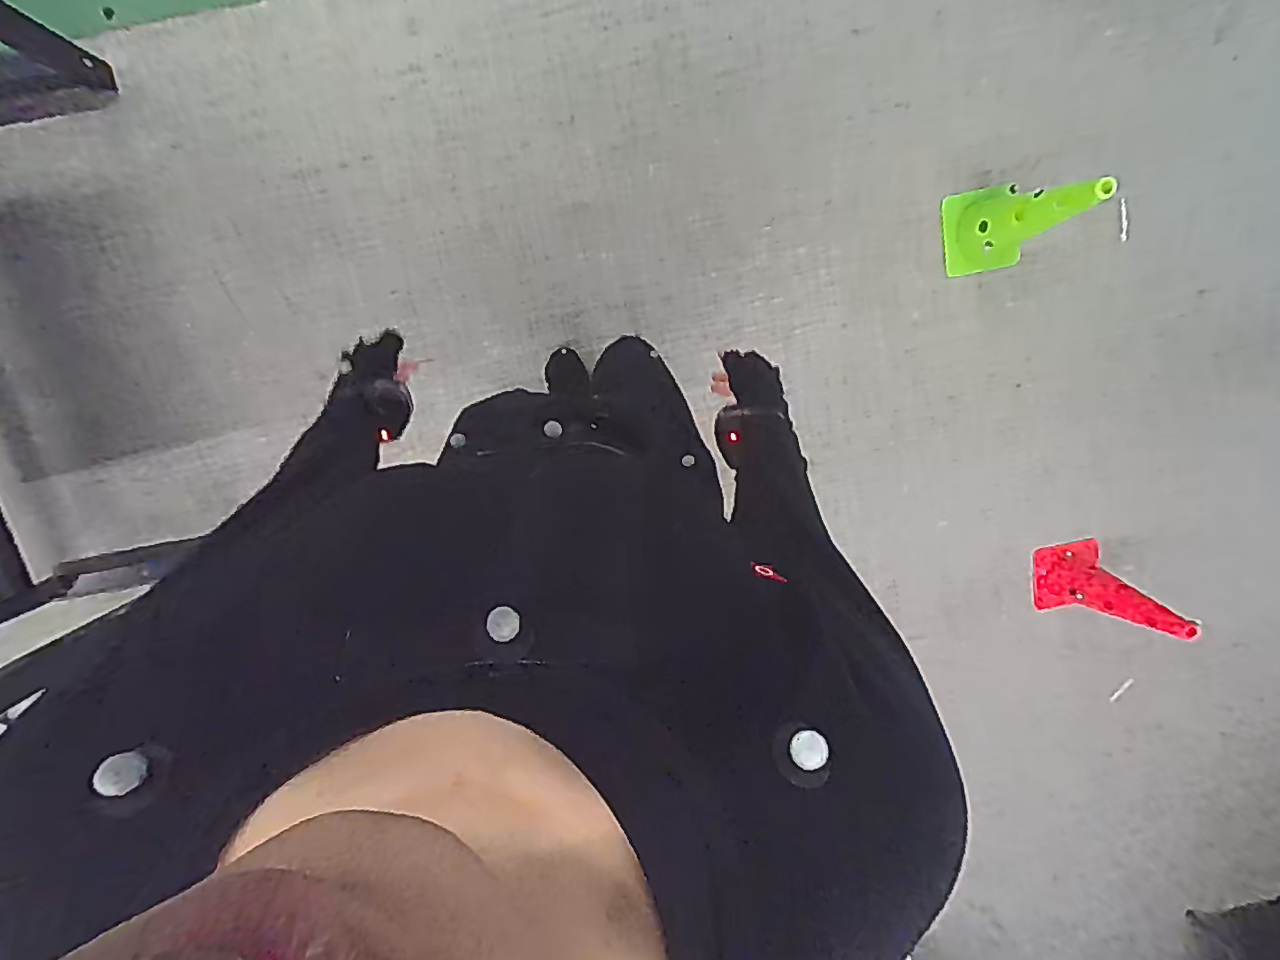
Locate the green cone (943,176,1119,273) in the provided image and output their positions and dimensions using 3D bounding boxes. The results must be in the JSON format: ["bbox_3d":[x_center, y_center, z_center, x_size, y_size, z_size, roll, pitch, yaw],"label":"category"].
[{"bbox_3d":[0.883,-0.607,1.210,0.200,0.368,0.202,-14,104,-1],"label":"green cone"}]
